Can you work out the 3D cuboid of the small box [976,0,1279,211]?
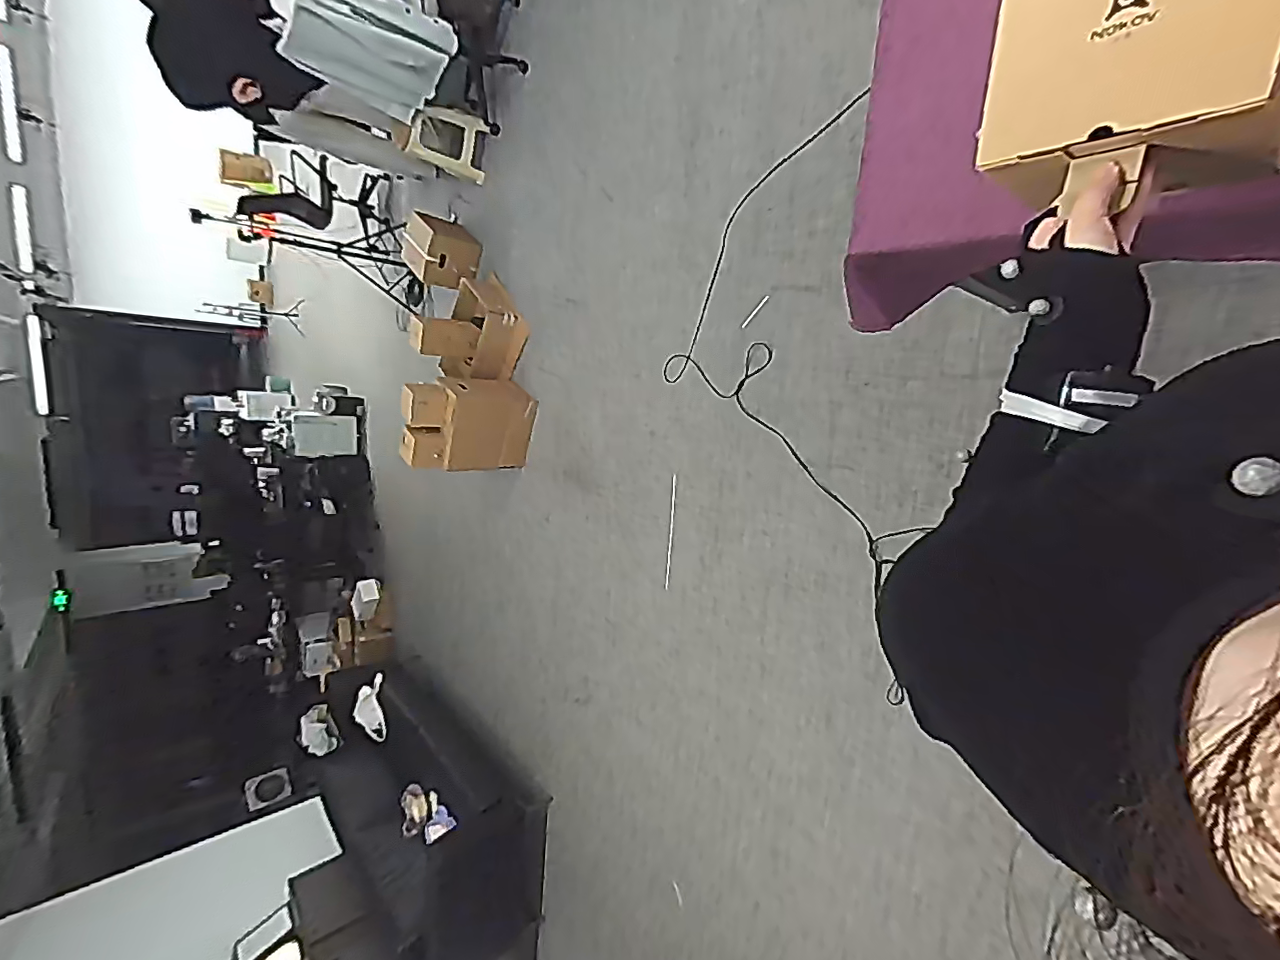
[{"bbox_3d":[0.409,-0.344,0.441,0.168,0.176,0.179,17,108,49],"label":"small box"}]
